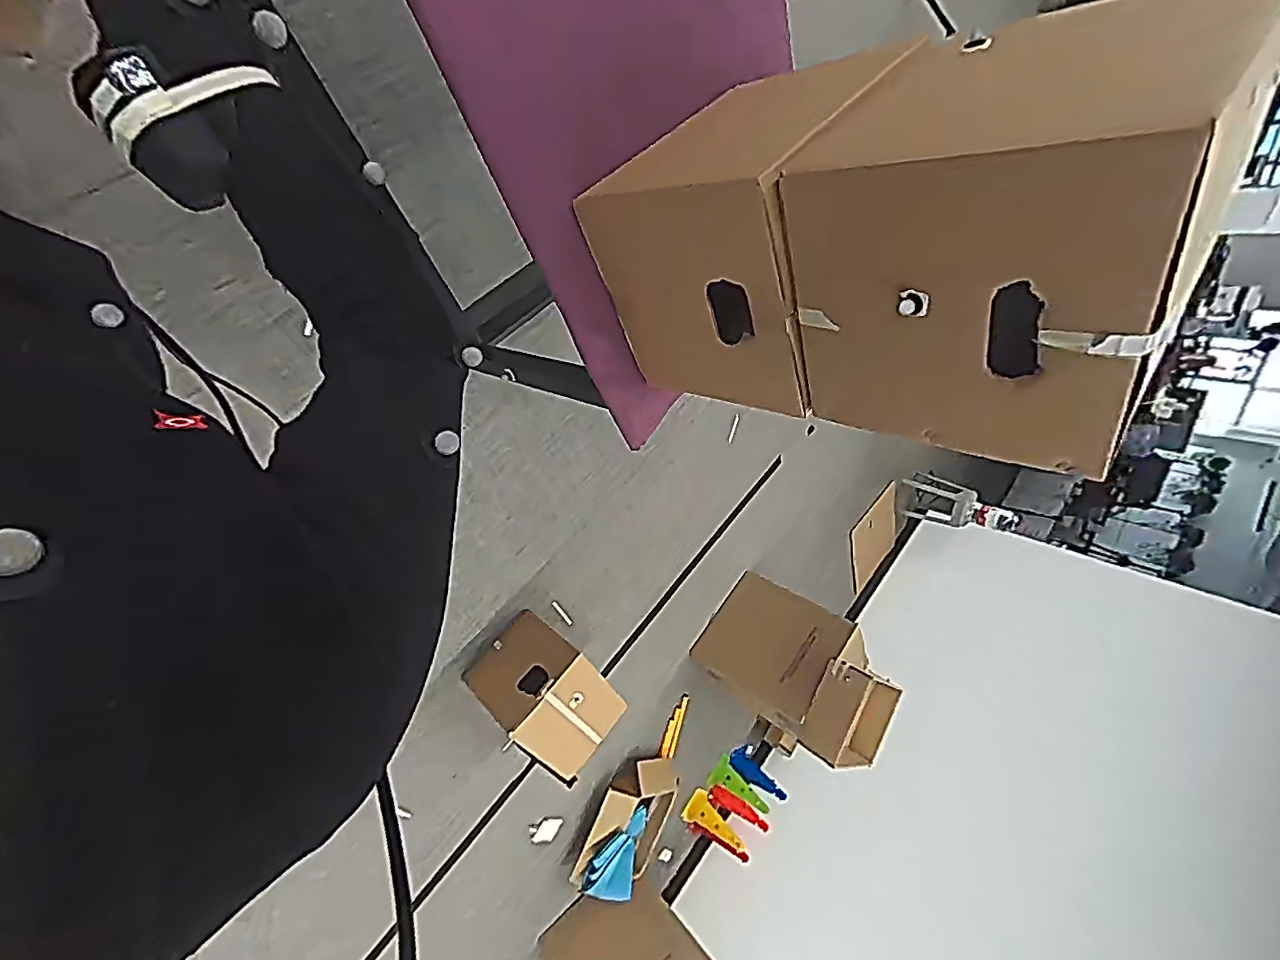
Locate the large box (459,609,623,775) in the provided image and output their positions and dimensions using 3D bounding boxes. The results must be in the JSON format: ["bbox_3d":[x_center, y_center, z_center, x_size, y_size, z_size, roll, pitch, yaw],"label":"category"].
[{"bbox_3d":[-0.327,0.714,1.835,0.320,0.320,0.408,-48,134,-22],"label":"large box"}]
